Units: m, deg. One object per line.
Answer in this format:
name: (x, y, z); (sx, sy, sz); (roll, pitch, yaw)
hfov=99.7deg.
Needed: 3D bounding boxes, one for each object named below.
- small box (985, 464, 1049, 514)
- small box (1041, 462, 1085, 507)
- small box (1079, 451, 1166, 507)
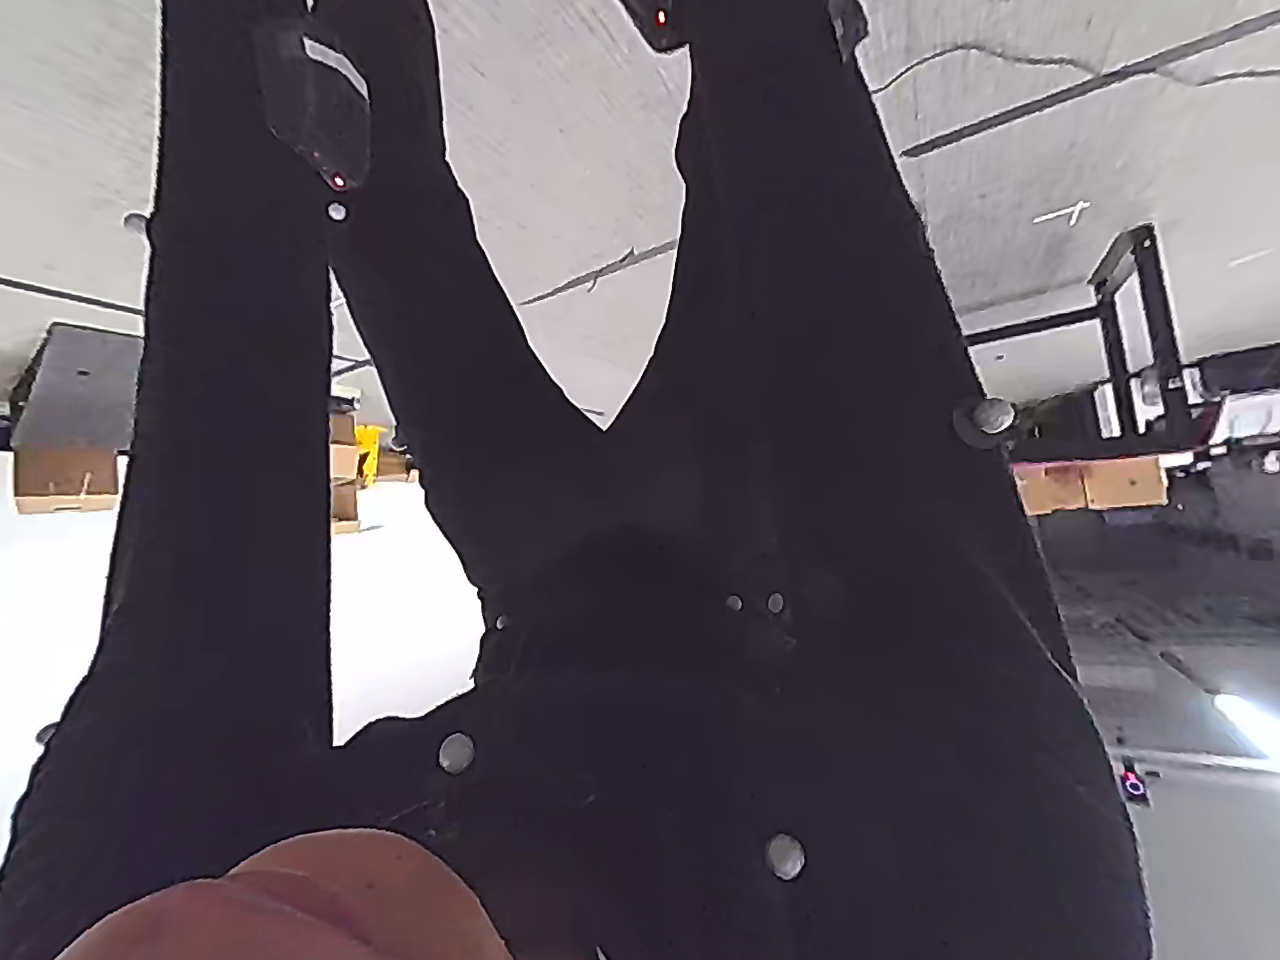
small box: (1.392, 0.034, 2.001); (0.168, 0.176, 0.179); (-10, 172, 30)
small box: (1.645, 0.022, 2.160); (0.168, 0.176, 0.179); (-9, 175, 30)
small box: (1.647, -0.003, 1.856); (0.179, 0.176, 0.168); (-9, 174, 29)
